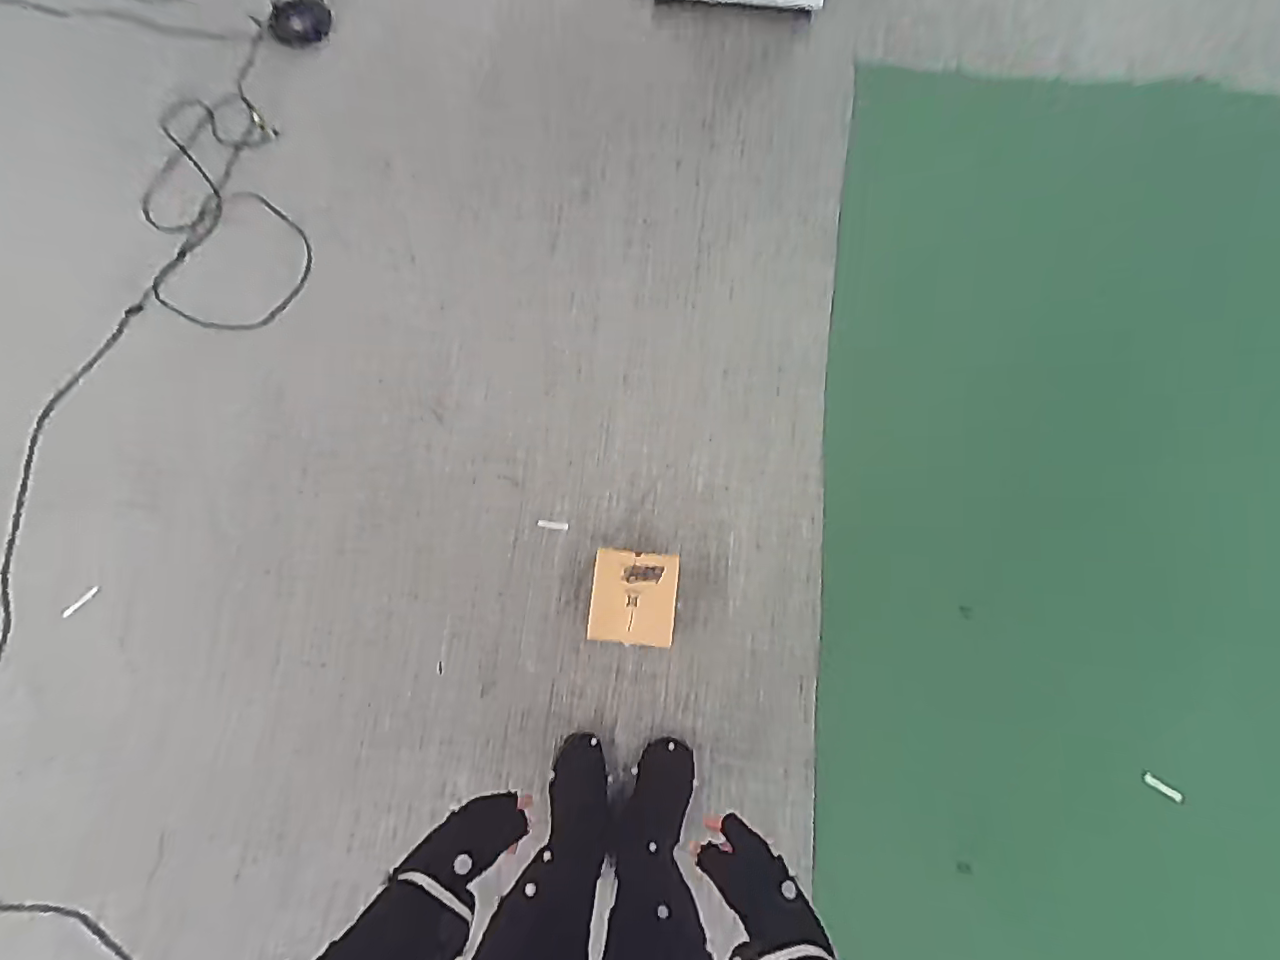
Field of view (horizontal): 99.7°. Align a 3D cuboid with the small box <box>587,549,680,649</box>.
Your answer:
[{"bbox_3d":[-0.011,0.245,1.123,0.168,0.176,0.179,6,78,2],"label":"small box"}]
